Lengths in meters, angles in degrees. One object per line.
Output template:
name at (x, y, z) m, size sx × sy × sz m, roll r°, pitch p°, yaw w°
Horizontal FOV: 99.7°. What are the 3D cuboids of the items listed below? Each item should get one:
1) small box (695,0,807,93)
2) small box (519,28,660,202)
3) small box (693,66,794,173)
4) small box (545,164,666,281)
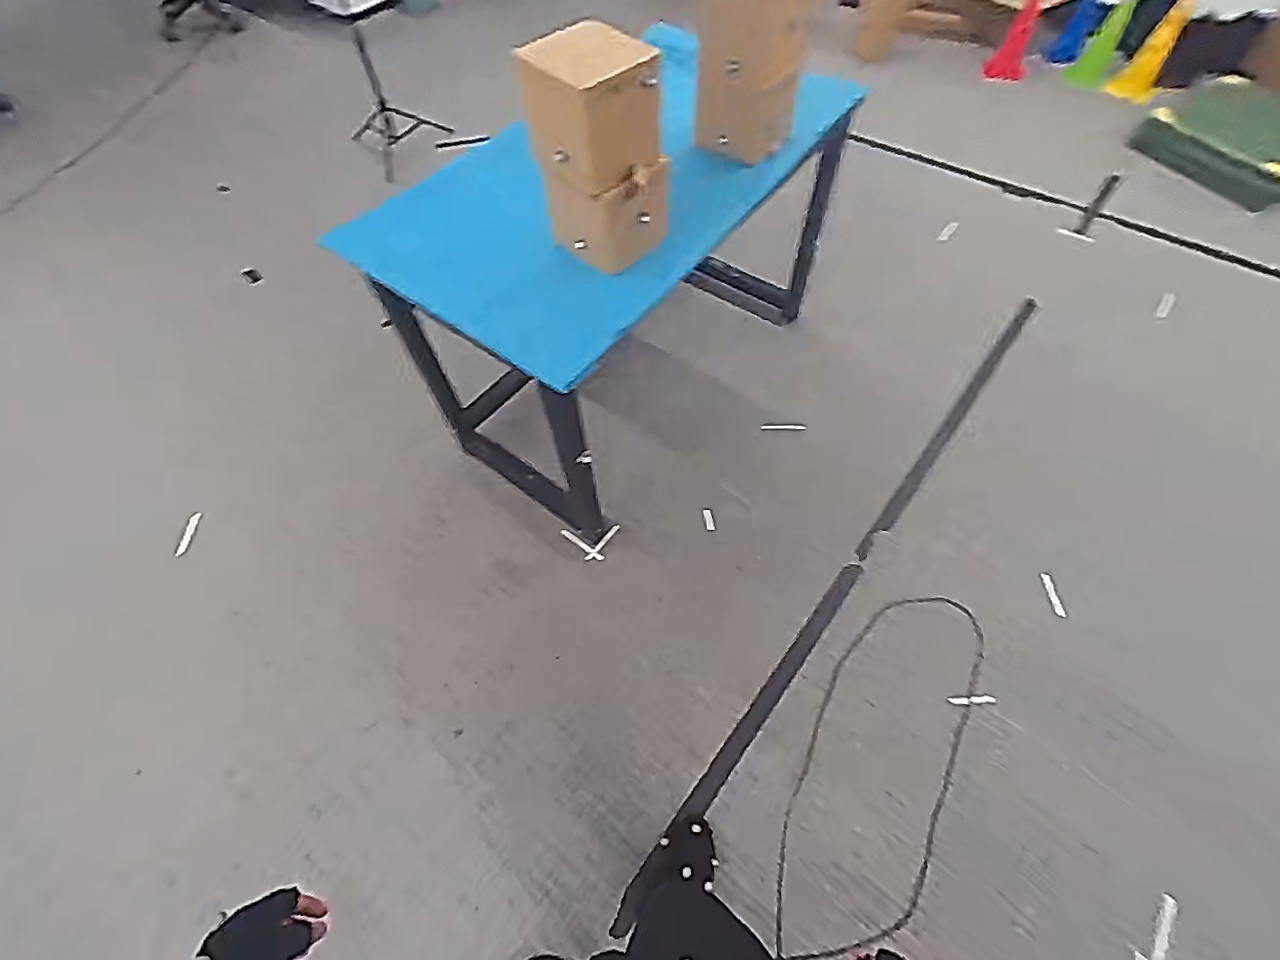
small box at (0.228, -0.941, 1.102) m, size 0.168 × 0.176 × 0.179 m, roll 34°, pitch 69°, yaw 22°
small box at (-0.084, -0.620, 0.919) m, size 0.168 × 0.176 × 0.179 m, roll -39°, pitch 67°, yaw -20°
small box at (0.235, -0.849, 1.237) m, size 0.179 × 0.176 × 0.168 m, roll 32°, pitch 65°, yaw 20°
small box at (-0.066, -0.535, 1.059) m, size 0.179 × 0.176 × 0.168 m, roll 38°, pitch 67°, yaw 21°
